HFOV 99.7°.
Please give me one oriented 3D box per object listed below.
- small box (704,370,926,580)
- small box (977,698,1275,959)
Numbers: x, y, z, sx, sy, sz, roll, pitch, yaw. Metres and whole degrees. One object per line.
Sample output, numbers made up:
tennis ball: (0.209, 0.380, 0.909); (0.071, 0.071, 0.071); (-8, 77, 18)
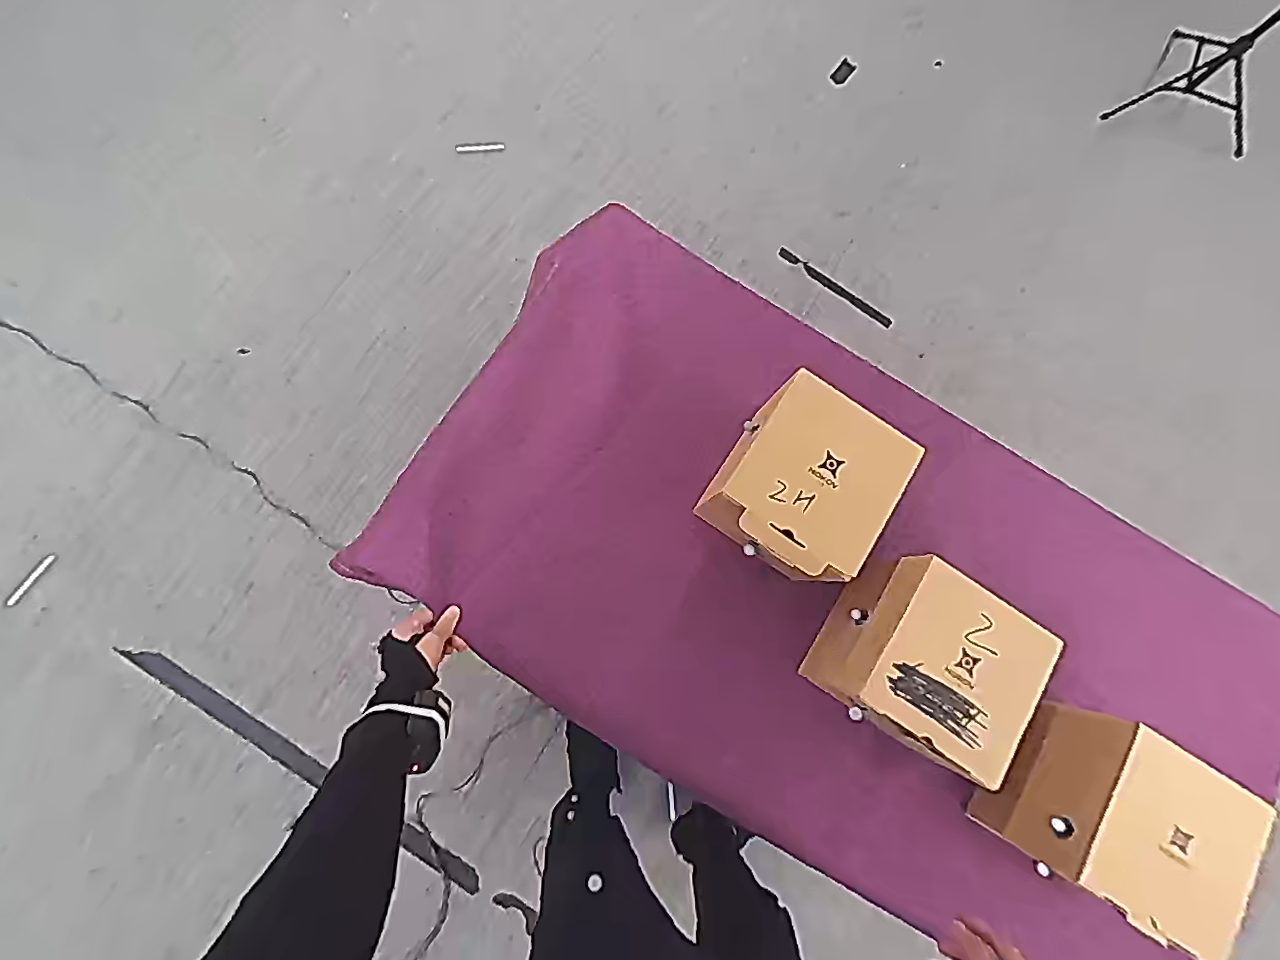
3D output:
small box: (0.197, 0.004, 0.661); (0.168, 0.176, 0.179); (35, 79, 2)
small box: (0.537, 0.382, 0.623); (0.168, 0.176, 0.179); (33, 79, 2)
